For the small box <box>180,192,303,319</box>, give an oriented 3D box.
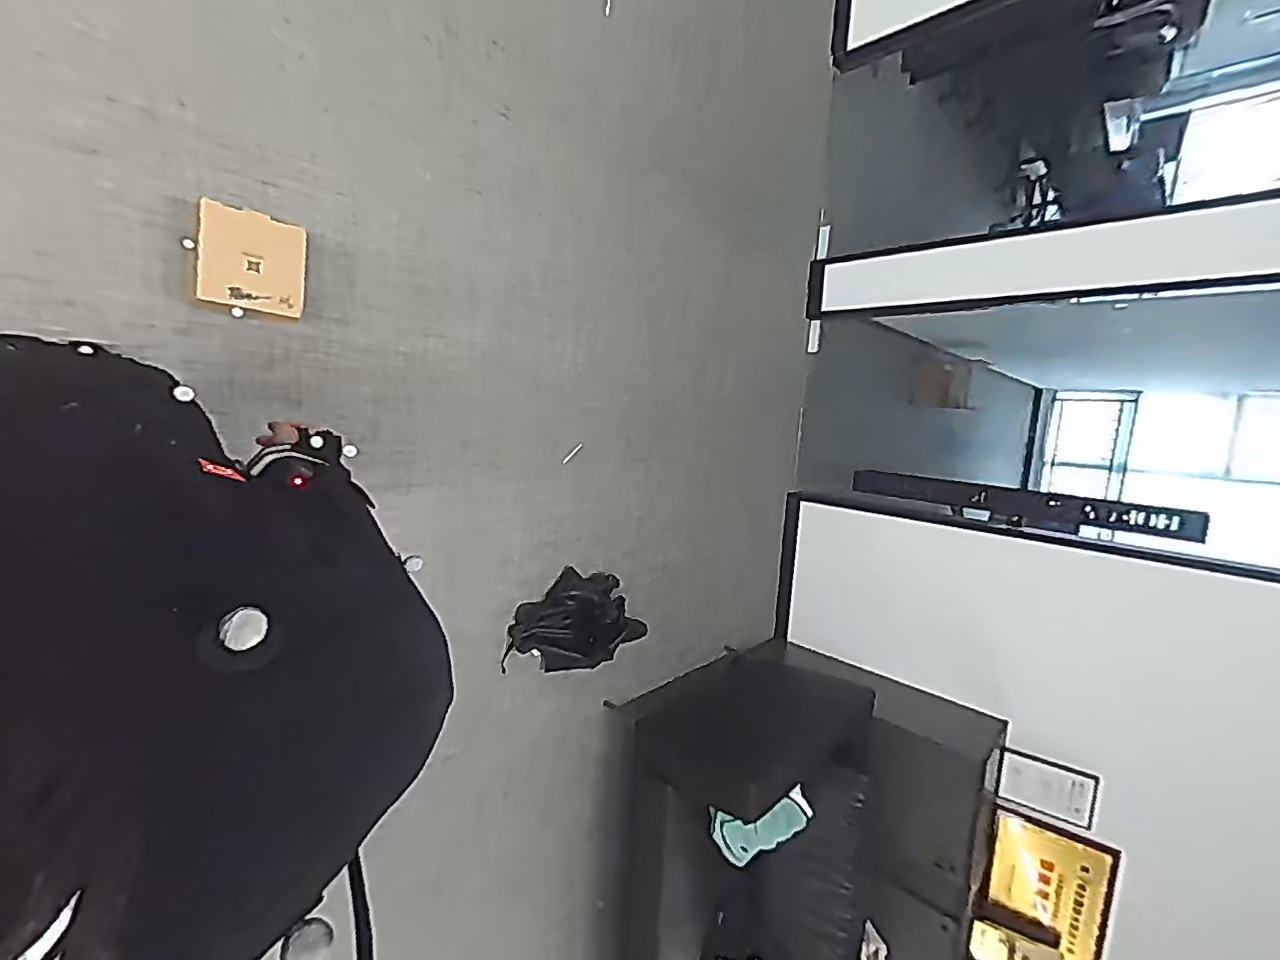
[{"bbox_3d":[-0.777,-0.423,1.052,0.168,0.176,0.179,1,97,-47],"label":"small box"}]
